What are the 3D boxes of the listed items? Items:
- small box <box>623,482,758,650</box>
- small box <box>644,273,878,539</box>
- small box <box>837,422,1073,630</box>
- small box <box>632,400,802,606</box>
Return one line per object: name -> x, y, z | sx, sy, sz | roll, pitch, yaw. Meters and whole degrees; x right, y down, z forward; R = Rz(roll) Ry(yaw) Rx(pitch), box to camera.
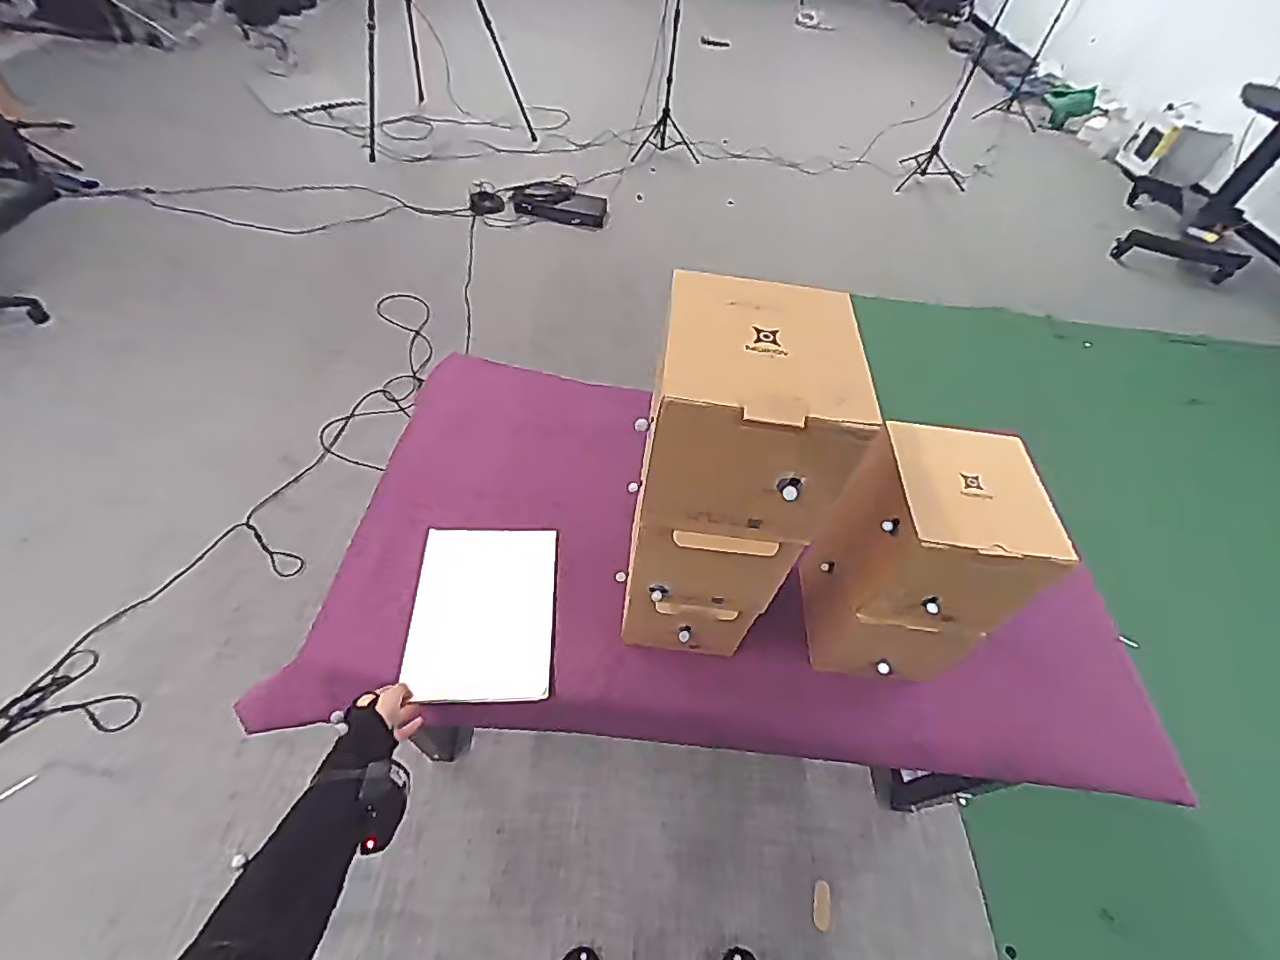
small box -> 0.068, 0.128, 0.776 | 0.168, 0.176, 0.179 | 8, 53, -1
small box -> 0.098, -0.064, 0.511 | 0.168, 0.176, 0.179 | 8, 51, -1
small box -> 0.354, 0.059, 0.654 | 0.168, 0.176, 0.179 | 8, 51, -1
small box -> 0.083, 0.032, 0.642 | 0.168, 0.176, 0.179 | 7, 51, -1
